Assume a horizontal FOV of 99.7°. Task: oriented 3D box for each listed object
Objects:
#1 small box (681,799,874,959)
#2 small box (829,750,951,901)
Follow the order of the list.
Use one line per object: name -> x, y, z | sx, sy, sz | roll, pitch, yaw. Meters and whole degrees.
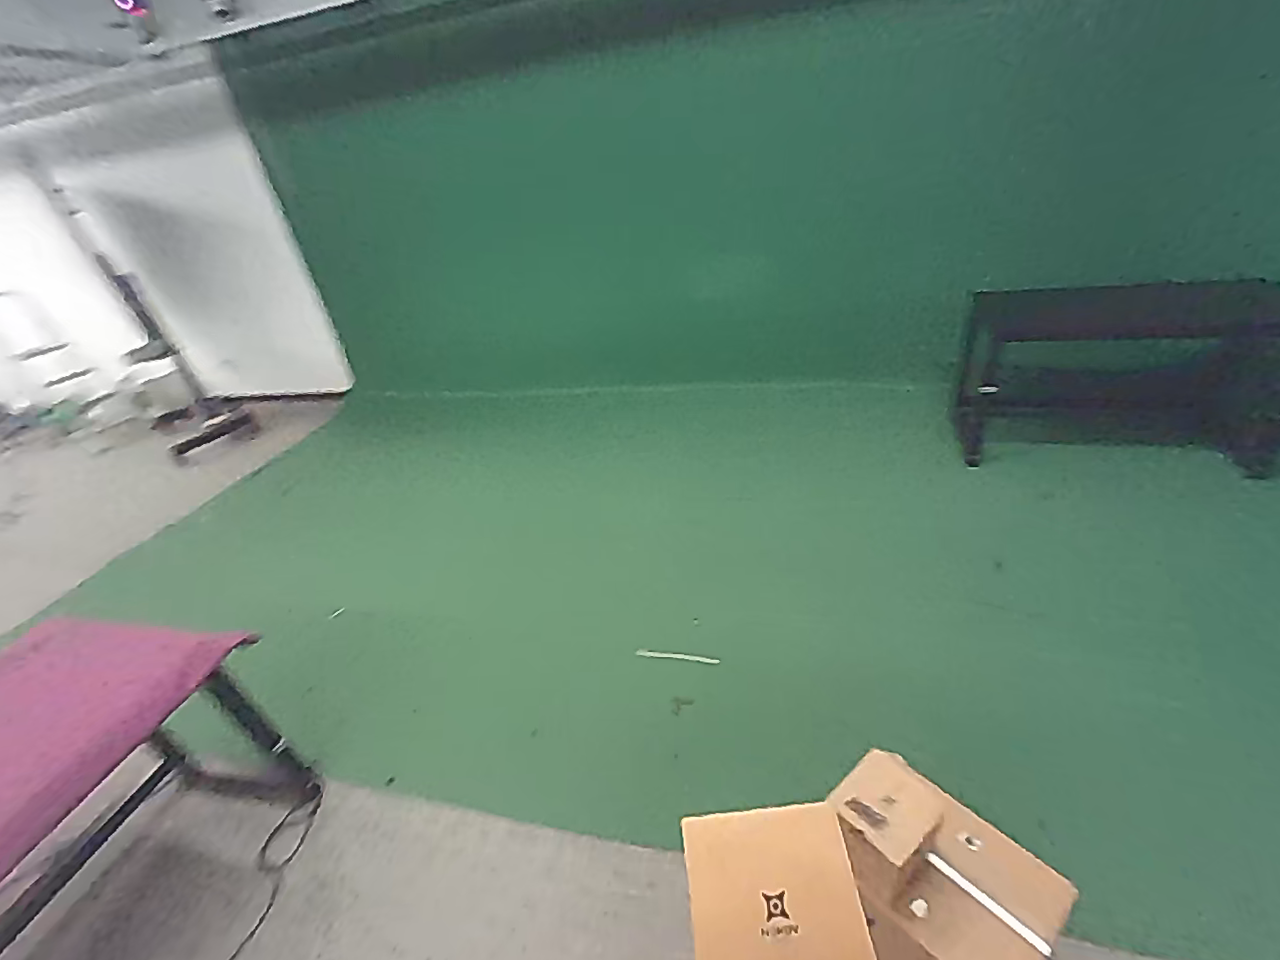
small box -> 0.135, 0.465, 0.579 | 0.168, 0.176, 0.179 | -8, 50, 1
small box -> 0.514, 0.723, 1.133 | 0.179, 0.176, 0.168 | -27, 38, -26
